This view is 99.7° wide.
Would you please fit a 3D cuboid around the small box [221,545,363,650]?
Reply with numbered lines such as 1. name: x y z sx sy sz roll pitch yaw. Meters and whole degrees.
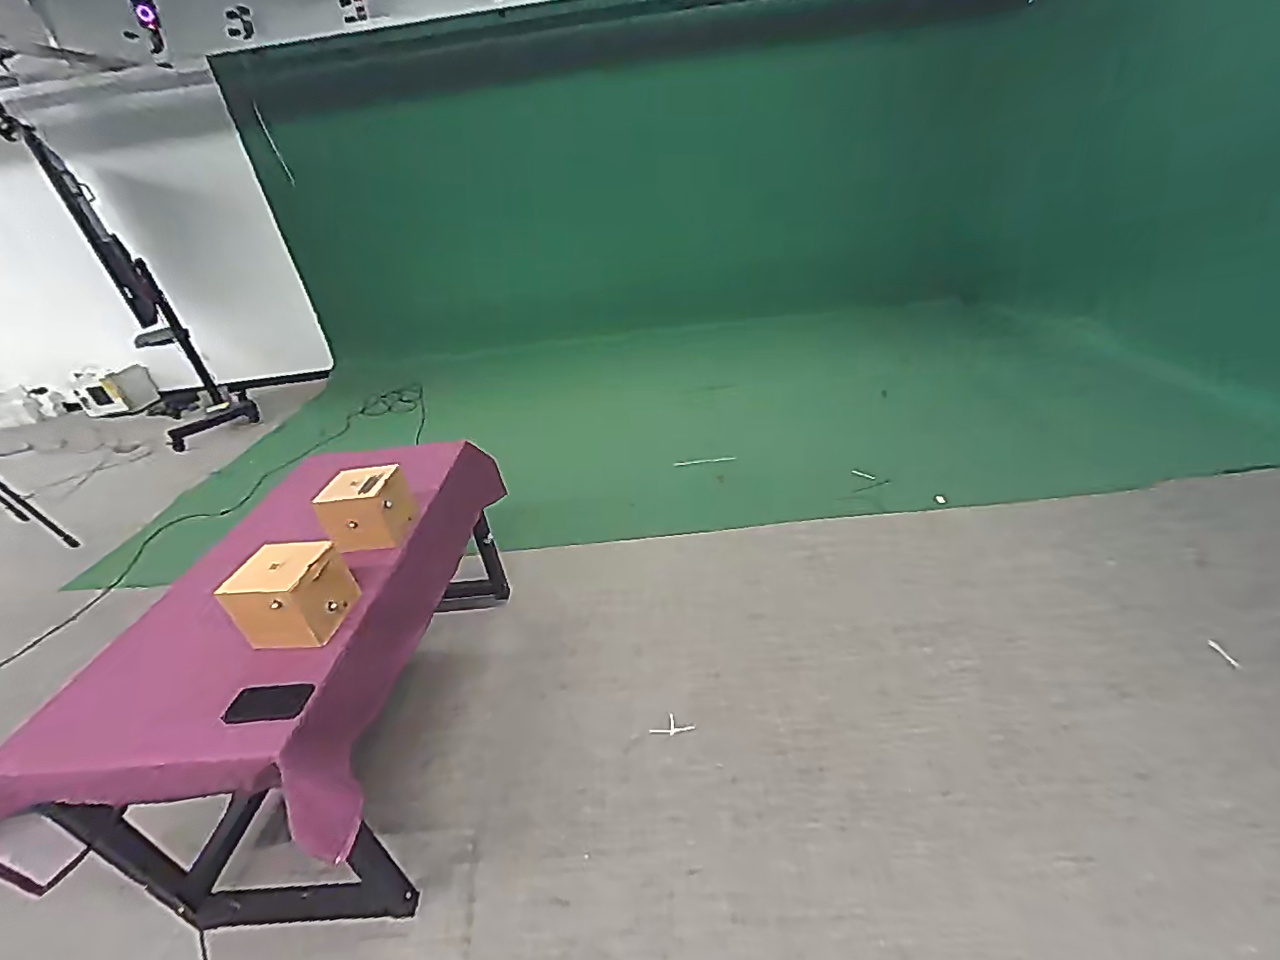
1. small box: -0.769 0.267 1.216 0.179 0.176 0.168 -4 31 7
